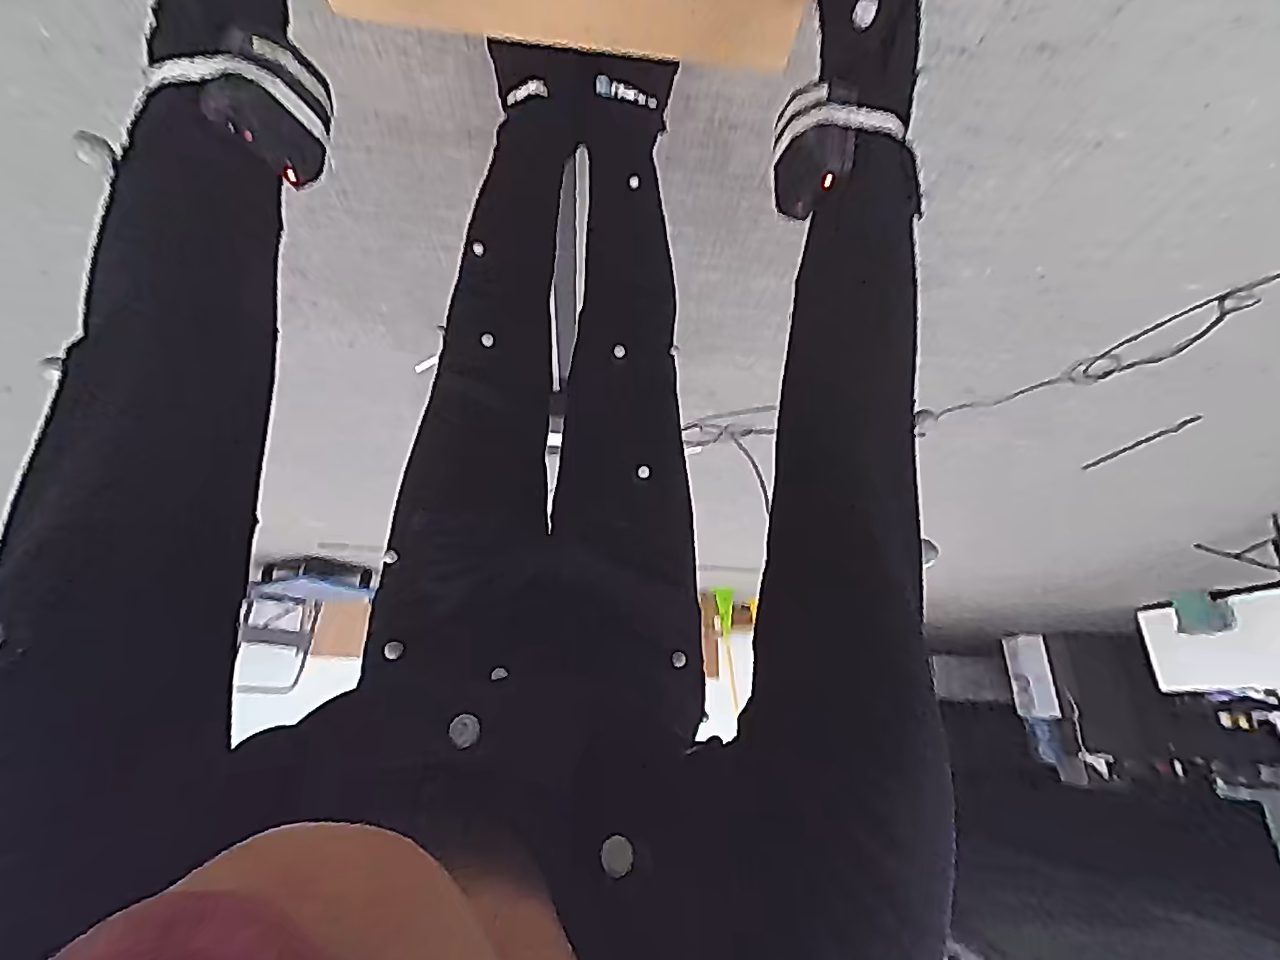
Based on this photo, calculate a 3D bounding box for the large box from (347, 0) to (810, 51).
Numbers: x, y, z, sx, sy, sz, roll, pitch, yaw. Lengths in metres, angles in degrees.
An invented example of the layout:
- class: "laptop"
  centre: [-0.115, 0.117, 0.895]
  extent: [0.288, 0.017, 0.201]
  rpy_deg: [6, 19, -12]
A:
- class: "large box"
  centre: [-0.043, -0.595, 0.399]
  extent: [0.408, 0.320, 0.320]
  rpy_deg: [3, 158, -4]
